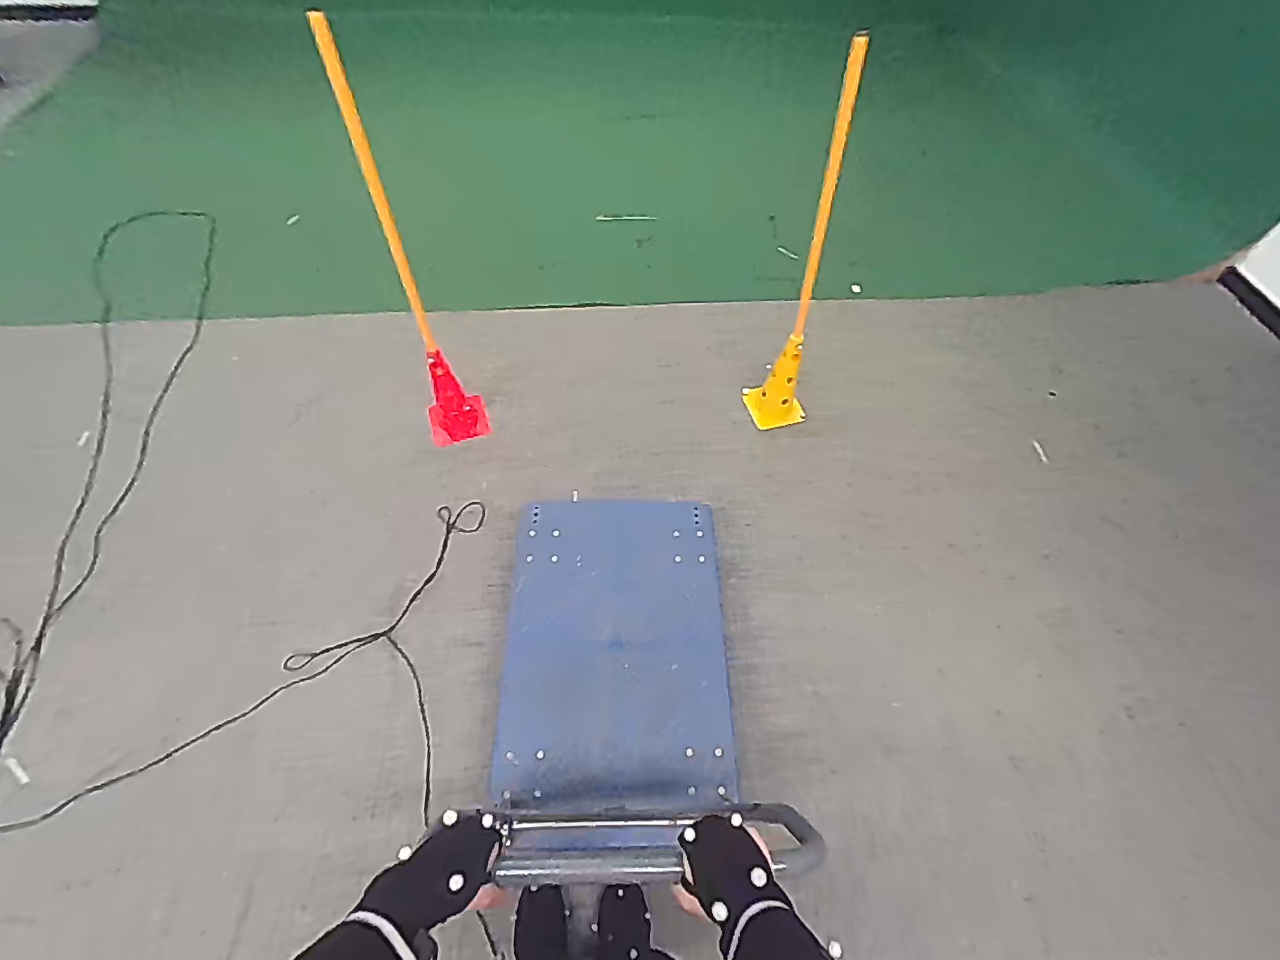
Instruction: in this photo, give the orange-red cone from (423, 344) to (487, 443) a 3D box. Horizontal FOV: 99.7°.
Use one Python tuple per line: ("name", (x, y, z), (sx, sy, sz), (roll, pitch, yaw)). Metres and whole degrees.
("orange-red cone", (-0.668, -0.317, 1.838), (0.199, 0.360, 0.198), (-16, 59, -11))
